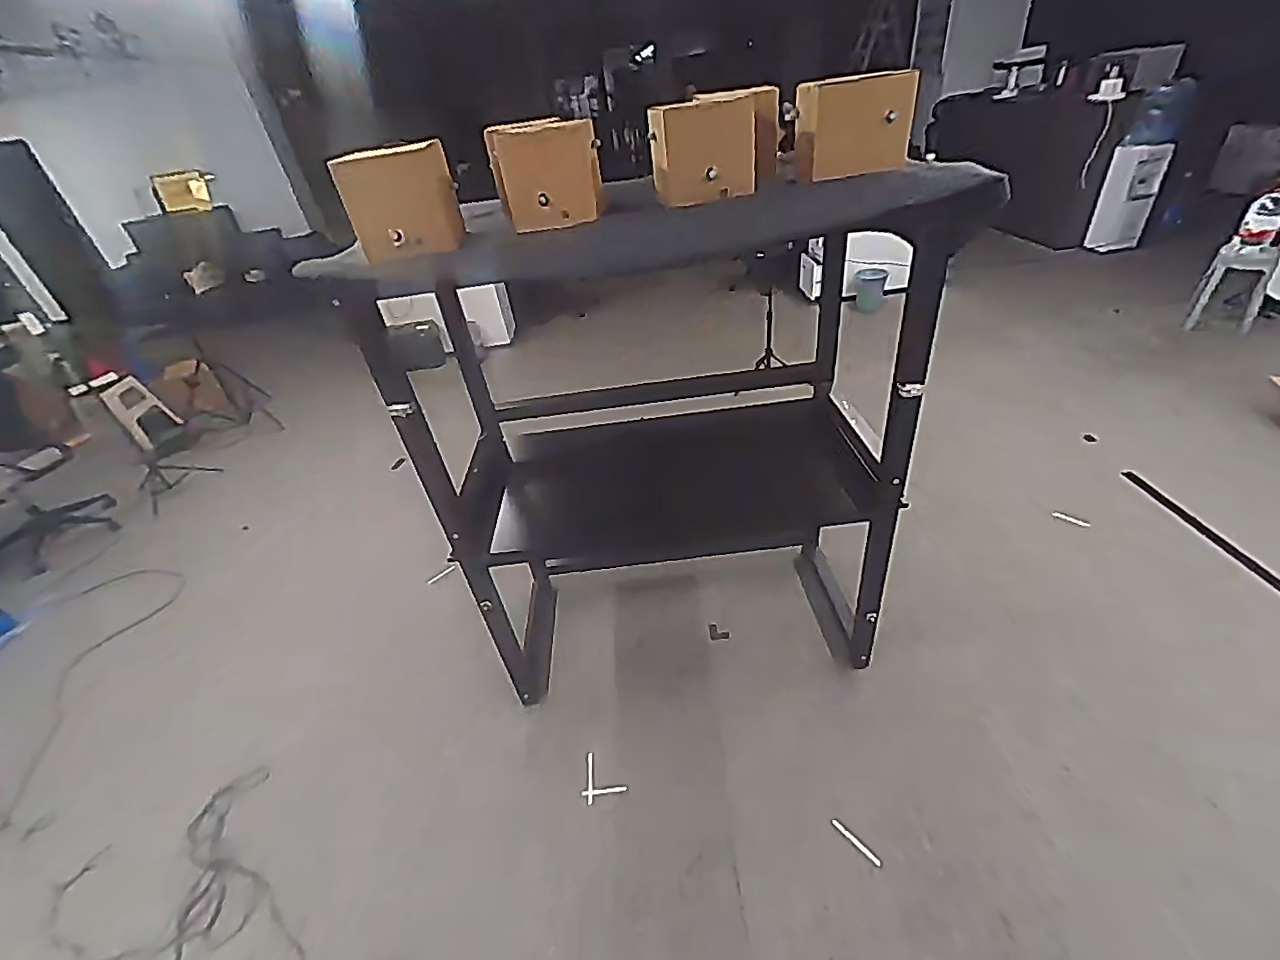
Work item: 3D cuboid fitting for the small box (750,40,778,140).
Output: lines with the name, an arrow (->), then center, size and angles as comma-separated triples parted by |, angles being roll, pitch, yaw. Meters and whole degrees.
small box -> 0.203, -0.859, 1.205 | 0.168, 0.176, 0.179 | -7, 36, 2

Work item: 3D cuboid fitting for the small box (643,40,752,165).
small box -> 0.105, -0.700, 1.011 | 0.168, 0.176, 0.179 | -11, 37, -3

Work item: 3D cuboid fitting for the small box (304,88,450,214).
small box -> -0.453, -0.588, 0.968 | 0.168, 0.176, 0.179 | -11, 37, -3
